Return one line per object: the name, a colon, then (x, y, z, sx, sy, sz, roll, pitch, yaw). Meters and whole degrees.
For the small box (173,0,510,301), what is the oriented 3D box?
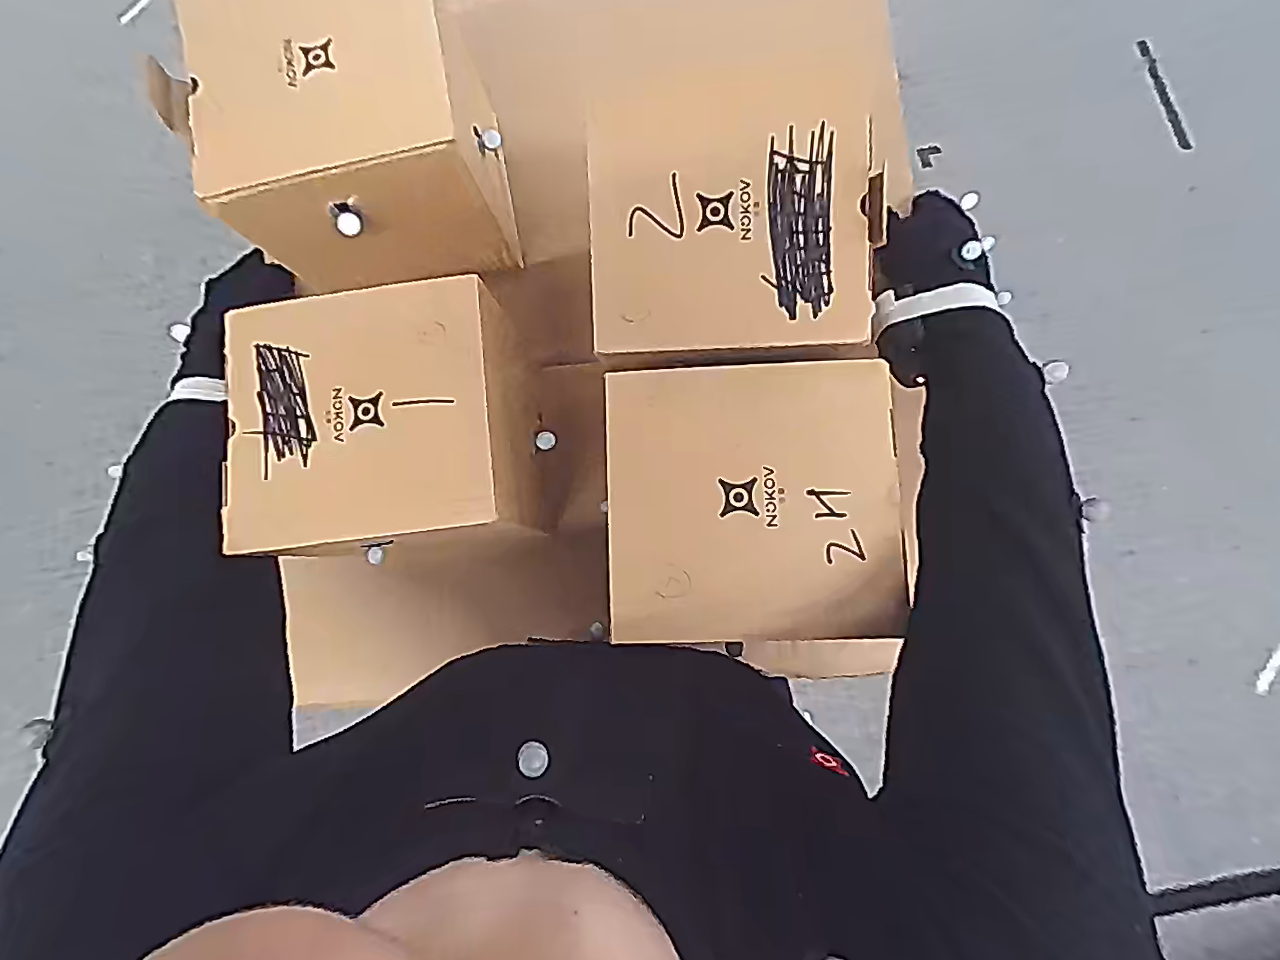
small box: (-0.215, -0.269, 0.436, 0.179, 0.176, 0.168, -12, 83, 3)
